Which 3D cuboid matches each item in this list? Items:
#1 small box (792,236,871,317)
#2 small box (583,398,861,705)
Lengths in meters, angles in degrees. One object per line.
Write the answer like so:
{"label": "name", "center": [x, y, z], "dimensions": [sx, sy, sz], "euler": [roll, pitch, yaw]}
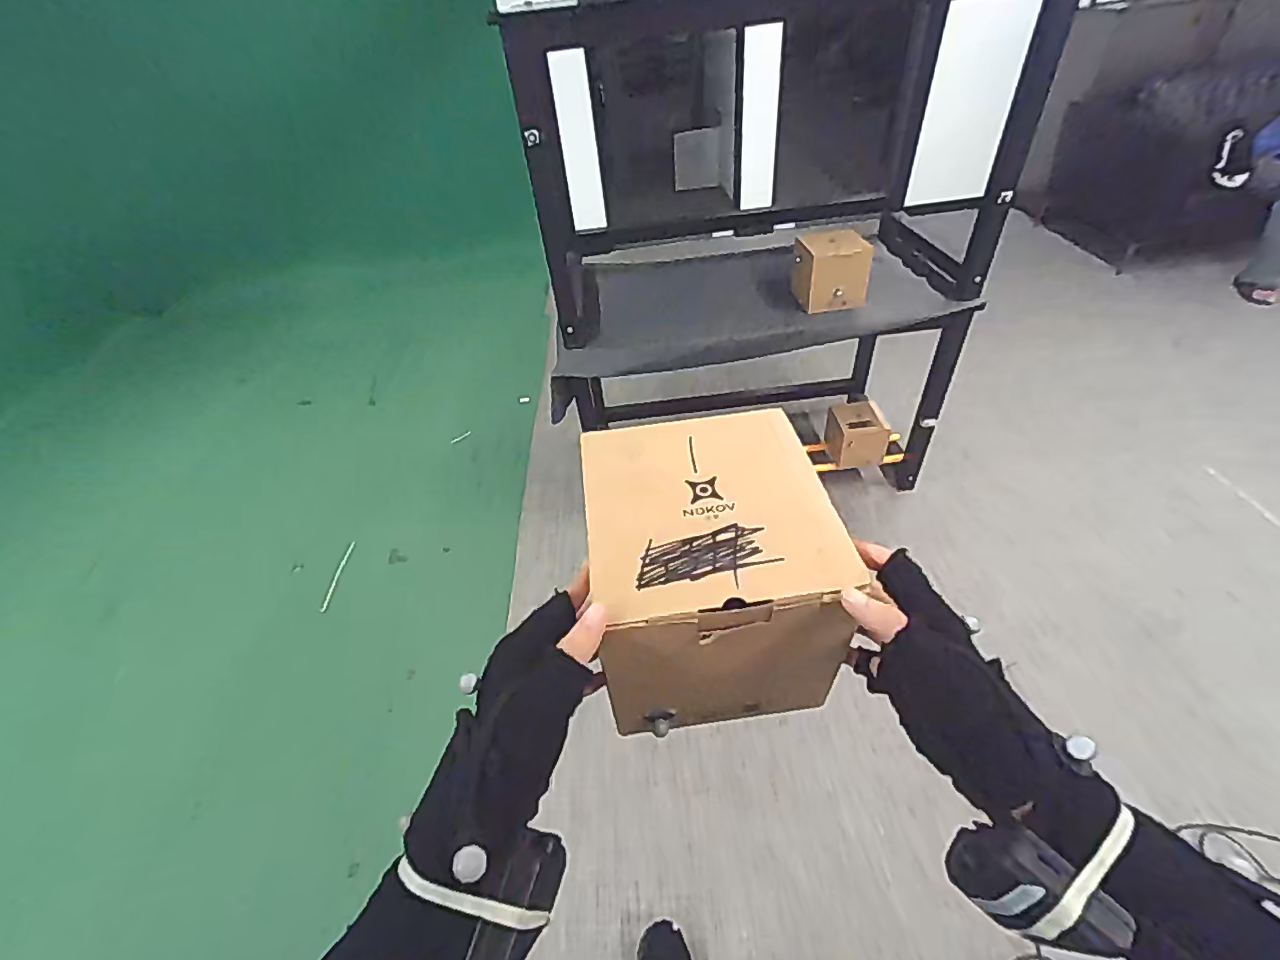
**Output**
{"label": "small box", "center": [0.554, -0.598, 1.590], "dimensions": [0.168, 0.176, 0.179], "euler": [-8, 41, 1]}
{"label": "small box", "center": [0.050, 0.061, 0.432], "dimensions": [0.168, 0.176, 0.179], "euler": [-8, 44, -3]}
